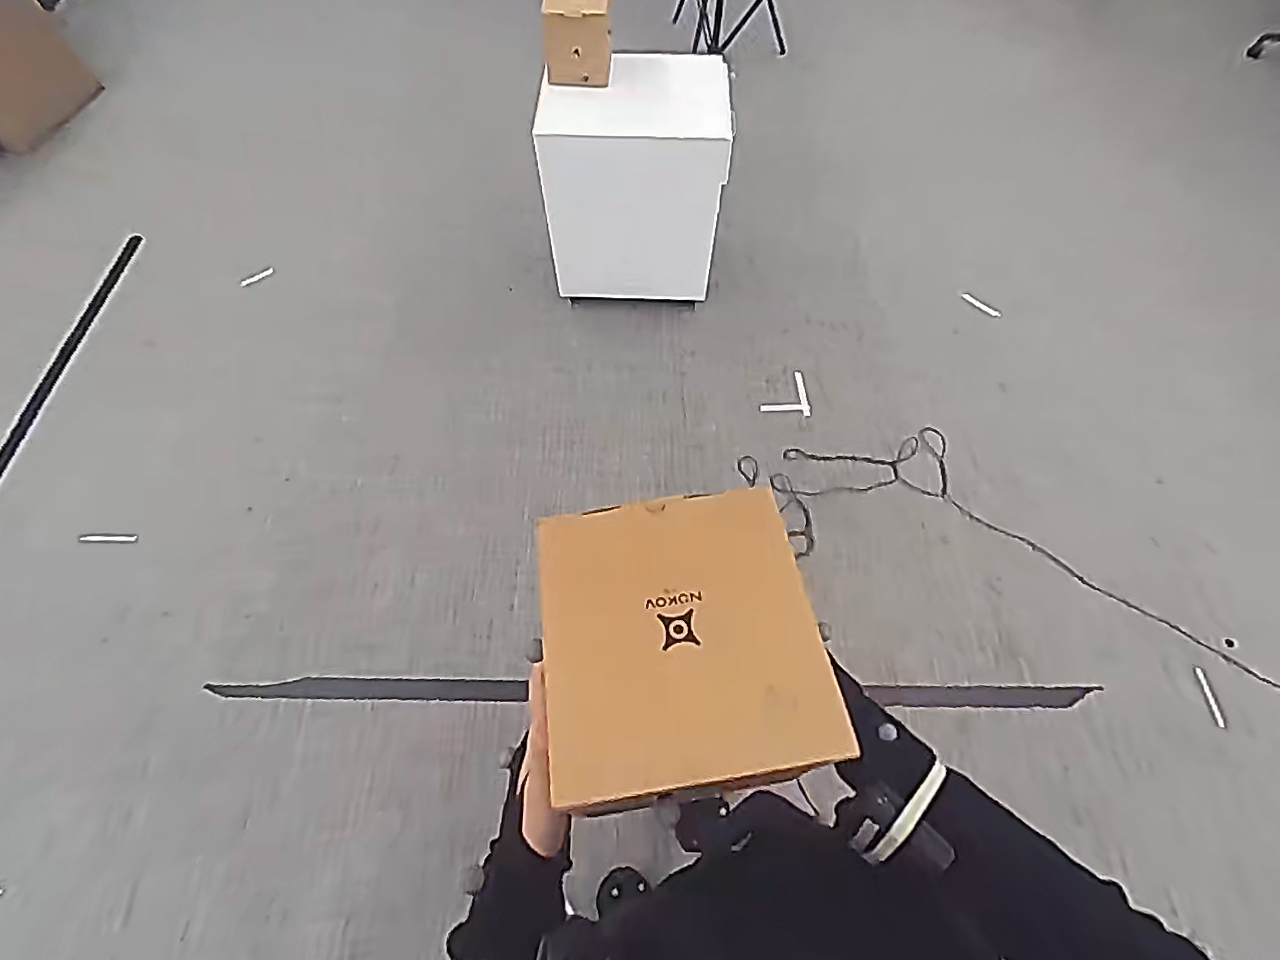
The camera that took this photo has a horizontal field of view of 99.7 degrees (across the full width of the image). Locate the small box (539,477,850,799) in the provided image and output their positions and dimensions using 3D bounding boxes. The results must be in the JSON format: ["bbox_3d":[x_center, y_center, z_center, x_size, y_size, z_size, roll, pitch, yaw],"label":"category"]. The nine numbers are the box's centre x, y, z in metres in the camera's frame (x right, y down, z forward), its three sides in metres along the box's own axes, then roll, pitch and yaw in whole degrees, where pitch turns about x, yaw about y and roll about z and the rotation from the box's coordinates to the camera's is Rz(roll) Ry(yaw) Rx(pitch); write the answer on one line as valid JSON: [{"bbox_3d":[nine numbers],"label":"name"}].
[{"bbox_3d":[0.026,0.125,0.399,0.168,0.176,0.179,-9,56,-4],"label":"small box"}]

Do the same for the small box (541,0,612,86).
[{"bbox_3d":[-0.163,-1.193,1.447,0.168,0.176,0.179,2,65,-1],"label":"small box"}]
